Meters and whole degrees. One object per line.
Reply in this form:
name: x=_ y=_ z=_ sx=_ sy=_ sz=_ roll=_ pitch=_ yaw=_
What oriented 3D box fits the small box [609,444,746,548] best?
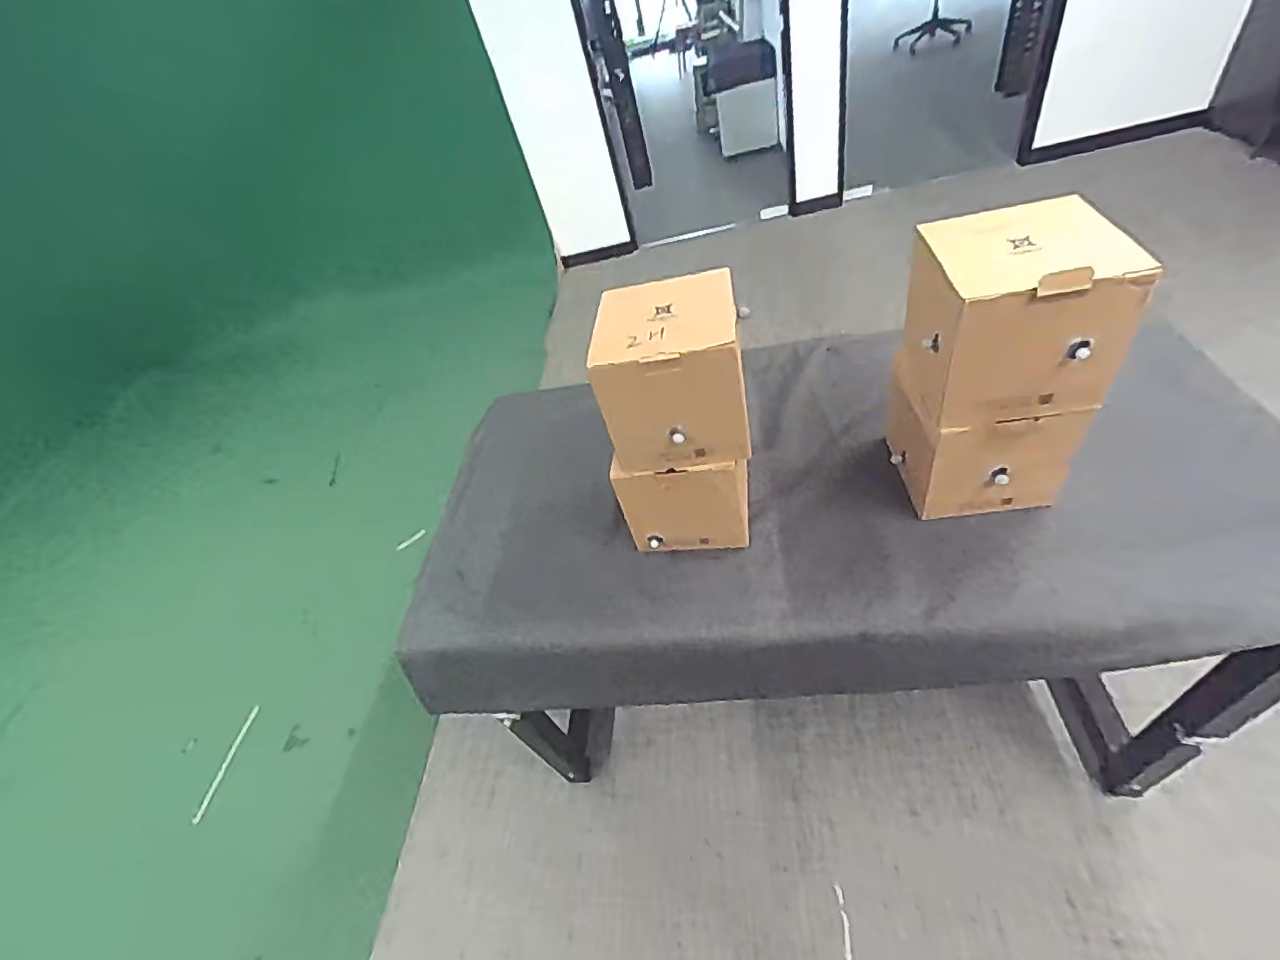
small box: x=0.066 y=-0.010 z=0.802 sx=0.168 sy=0.176 sz=0.179 roll=-4 pitch=44 yaw=14

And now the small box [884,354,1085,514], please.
small box: x=0.442 y=-0.068 z=0.730 sx=0.168 sy=0.176 sz=0.179 roll=-8 pitch=45 yaw=11

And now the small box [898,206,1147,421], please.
small box: x=0.407 y=-0.180 z=0.617 sx=0.168 sy=0.176 sz=0.179 roll=-6 pitch=44 yaw=12

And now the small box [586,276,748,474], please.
small box: x=0.044 y=-0.131 z=0.691 sx=0.168 sy=0.176 sz=0.179 roll=-7 pitch=44 yaw=13
